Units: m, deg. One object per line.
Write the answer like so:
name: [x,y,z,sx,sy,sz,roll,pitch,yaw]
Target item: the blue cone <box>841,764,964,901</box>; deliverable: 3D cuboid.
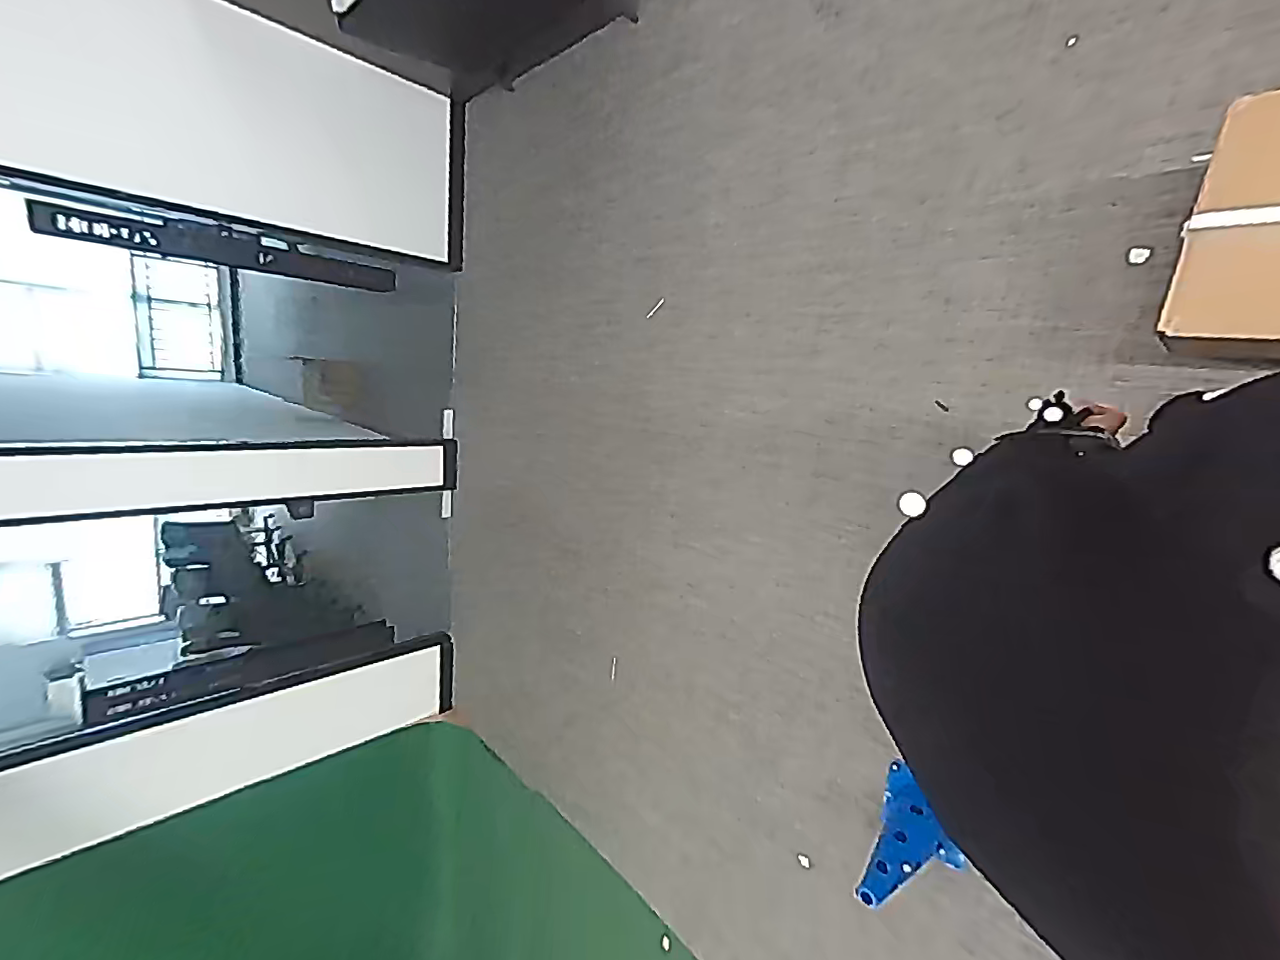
blue cone: [0.571,0.838,1.228,0.192,0.380,0.193,17,105,45]
